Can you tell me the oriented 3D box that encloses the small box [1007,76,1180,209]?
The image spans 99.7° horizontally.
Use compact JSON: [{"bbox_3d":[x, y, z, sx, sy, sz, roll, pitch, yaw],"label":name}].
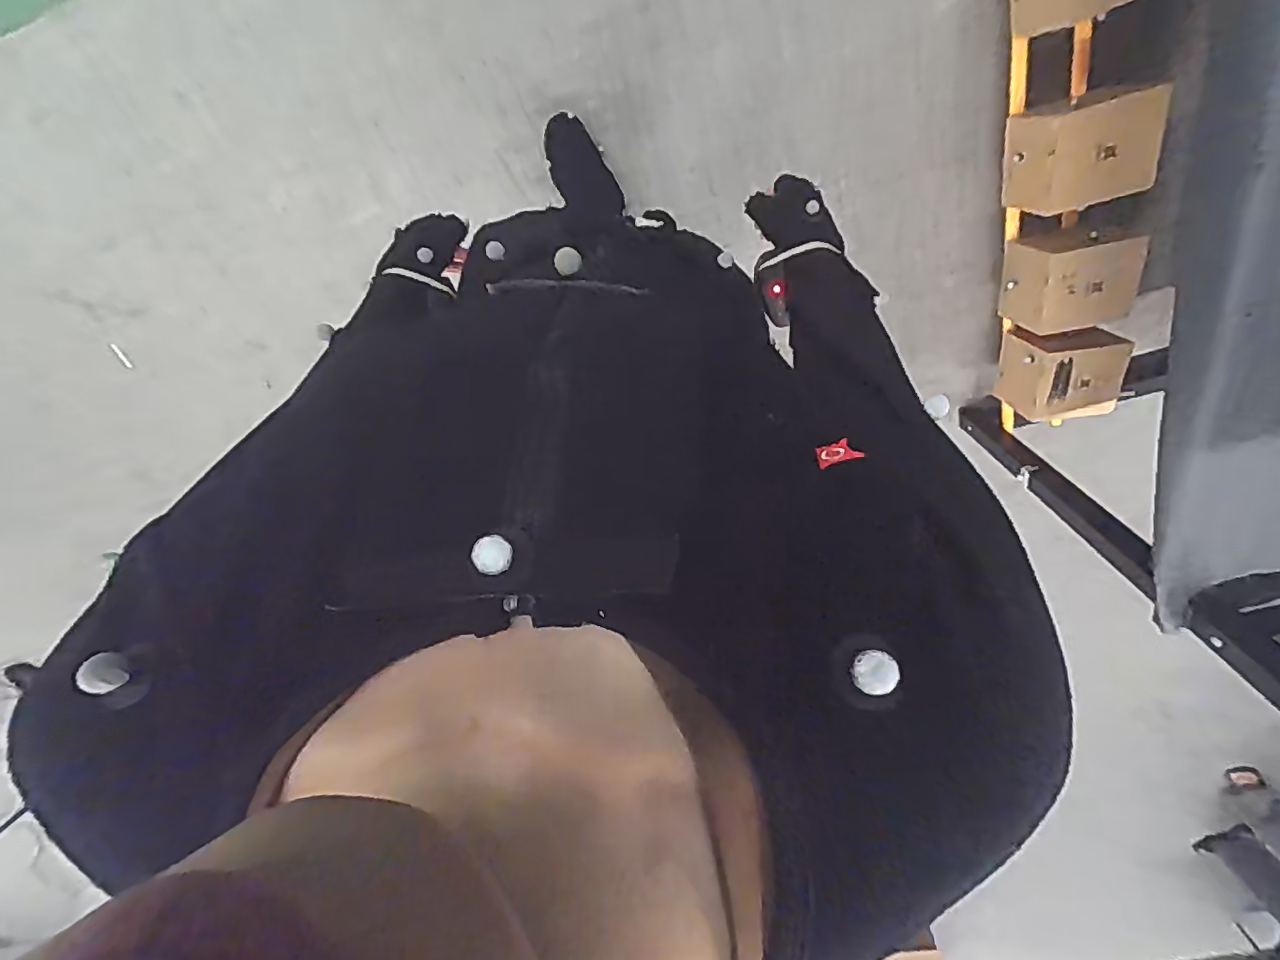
[{"bbox_3d":[0.826,-0.627,1.007,0.179,0.176,0.168,-12,122,12],"label":"small box"}]
